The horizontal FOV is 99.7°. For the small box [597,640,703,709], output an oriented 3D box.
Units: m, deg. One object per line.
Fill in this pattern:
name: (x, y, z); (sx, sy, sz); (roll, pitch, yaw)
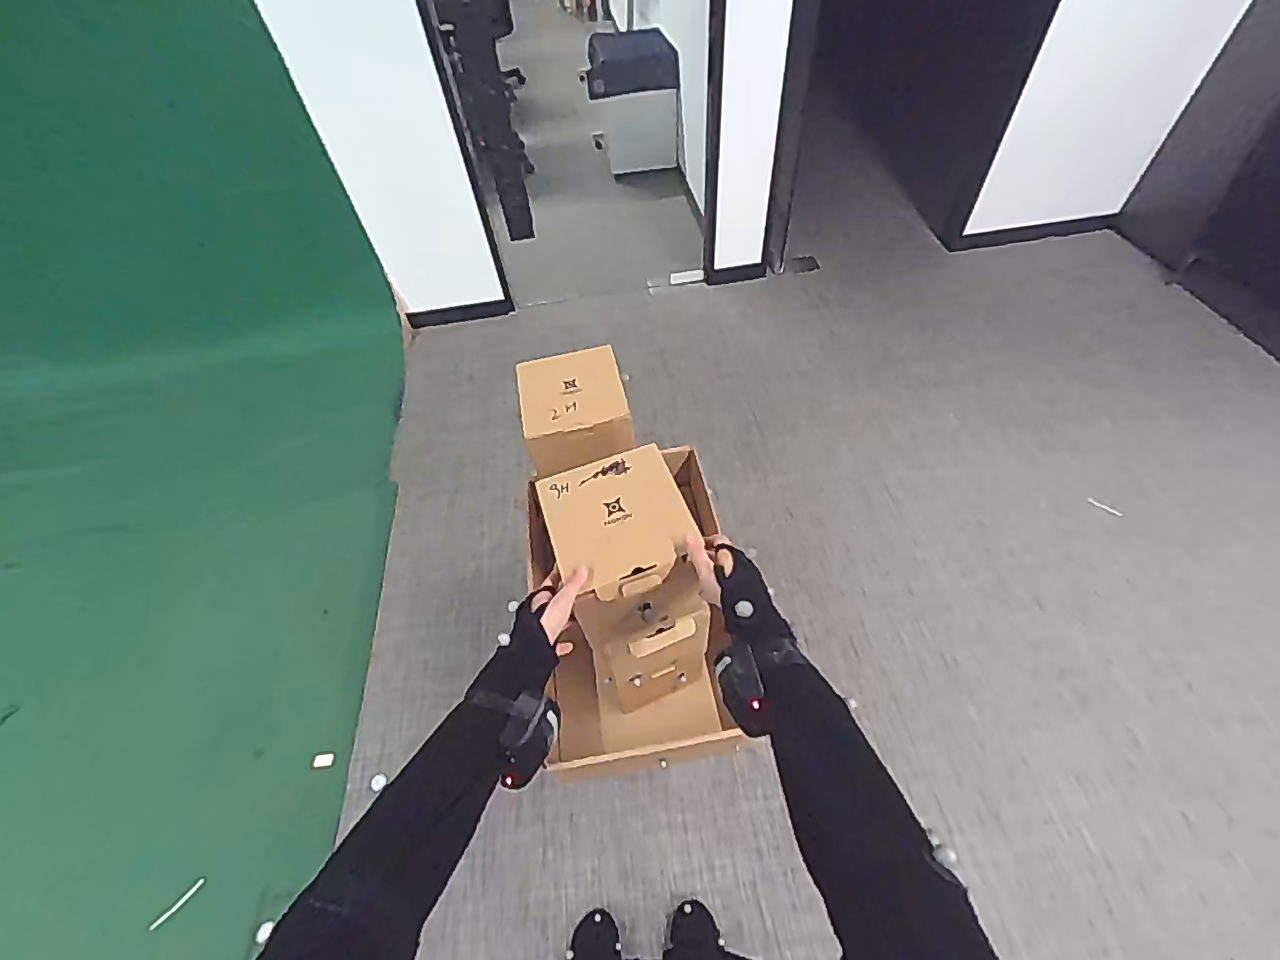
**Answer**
small box: (0.010, 0.314, 1.029); (0.168, 0.176, 0.179); (-20, 53, -11)

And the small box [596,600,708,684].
small box: (0.002, 0.216, 0.898); (0.168, 0.176, 0.179); (-20, 52, -12)

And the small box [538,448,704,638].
small box: (-0.021, 0.092, 0.713); (0.168, 0.176, 0.179); (-18, 56, -7)

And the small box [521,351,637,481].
small box: (-0.101, -0.091, 0.933); (0.168, 0.176, 0.179); (-12, 53, -3)
